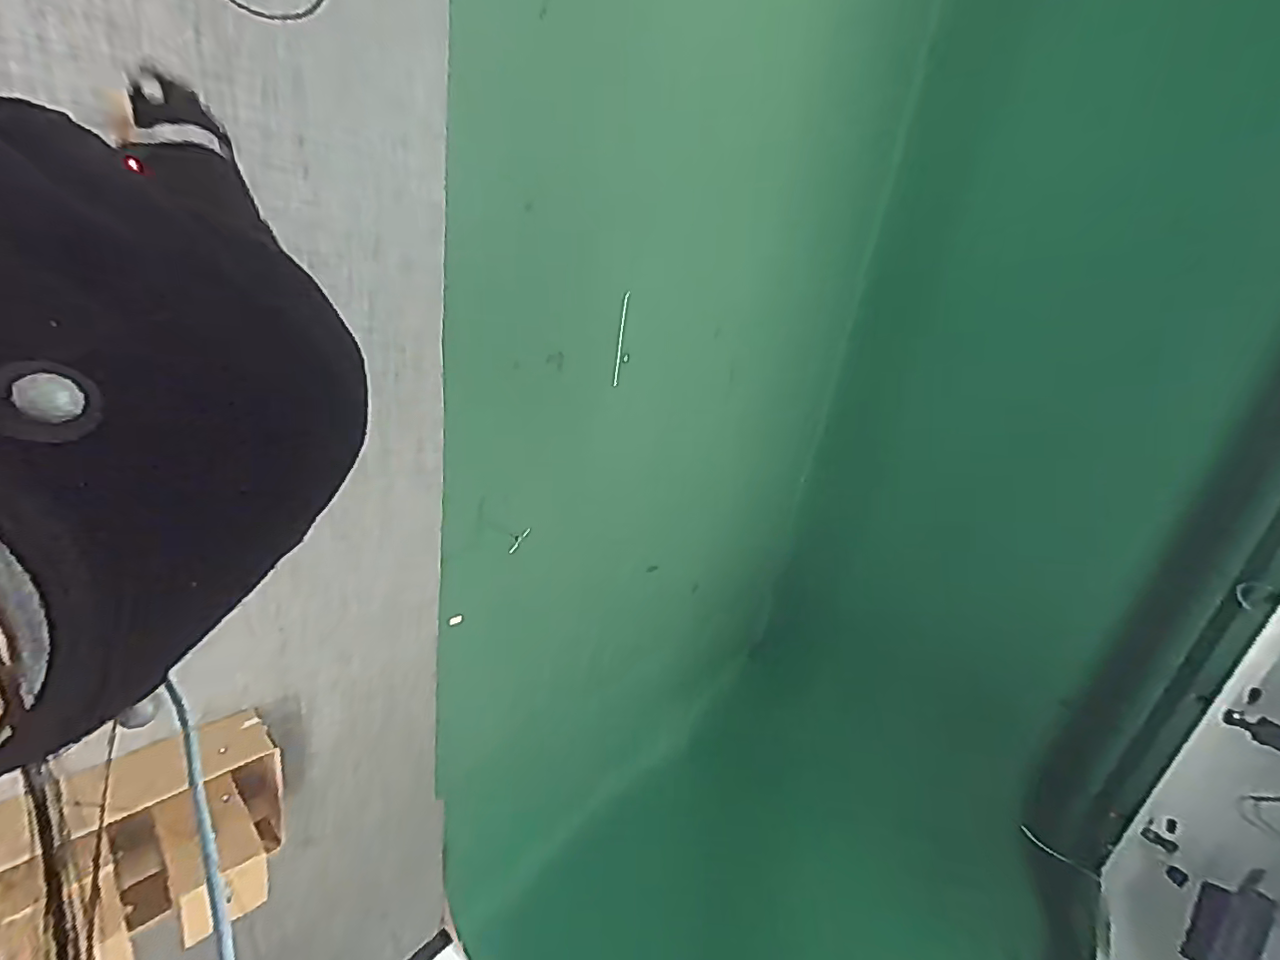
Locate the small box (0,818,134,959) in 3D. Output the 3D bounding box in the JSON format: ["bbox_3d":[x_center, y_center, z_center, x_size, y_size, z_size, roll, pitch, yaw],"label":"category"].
[{"bbox_3d":[-1.311,0.932,1.240,0.179,0.176,0.168,-17,121,-49],"label":"small box"}]

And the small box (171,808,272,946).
[{"bbox_3d":[-1.030,0.966,1.332,0.168,0.176,0.179,-10,117,-49],"label":"small box"}]
